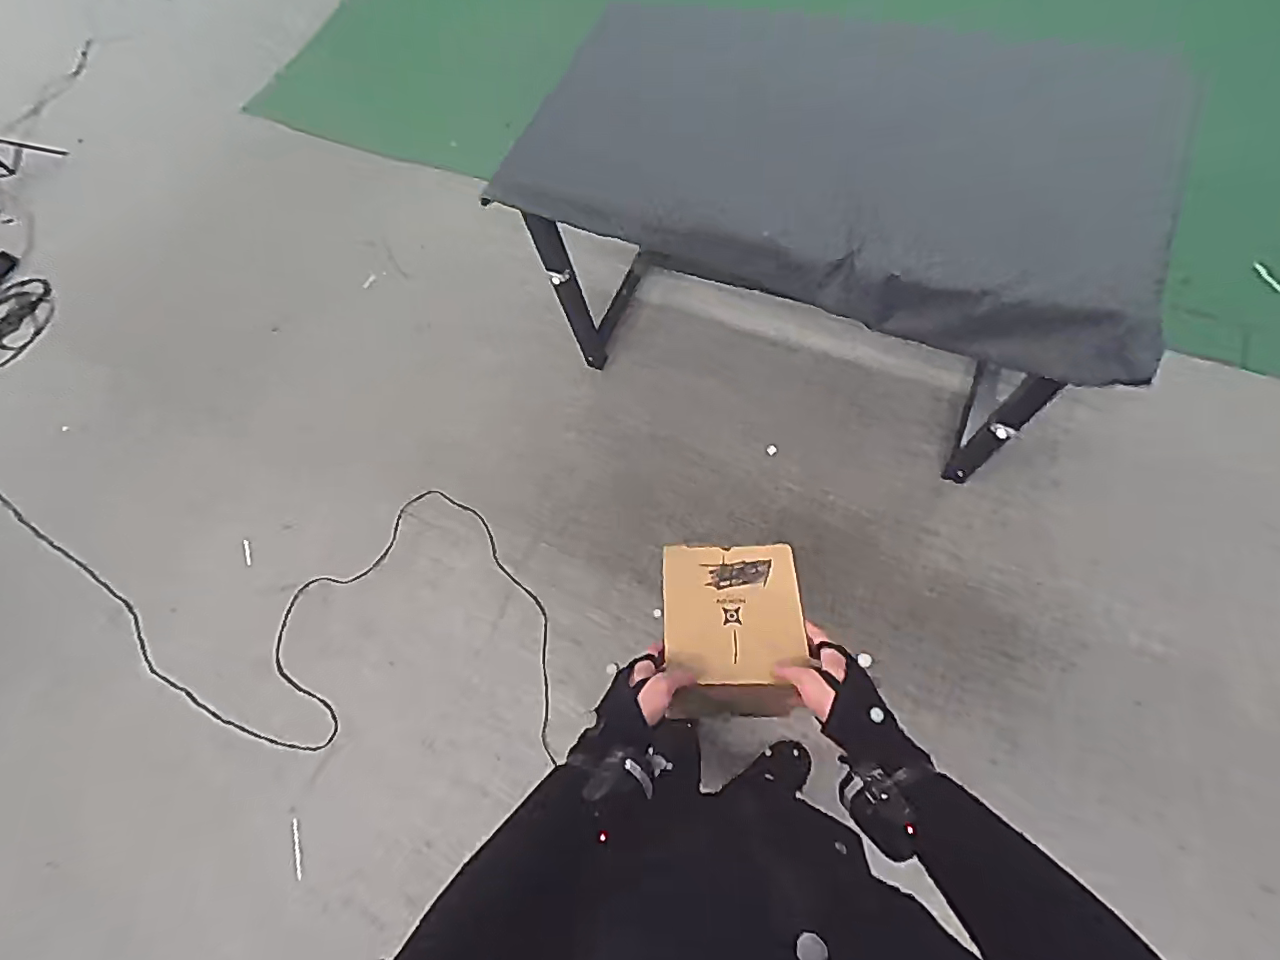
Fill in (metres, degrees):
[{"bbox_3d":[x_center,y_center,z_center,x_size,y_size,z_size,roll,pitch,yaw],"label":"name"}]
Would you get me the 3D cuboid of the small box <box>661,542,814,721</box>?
[{"bbox_3d":[0.111,0.197,0.696,0.168,0.176,0.179,-1,54,3],"label":"small box"}]
